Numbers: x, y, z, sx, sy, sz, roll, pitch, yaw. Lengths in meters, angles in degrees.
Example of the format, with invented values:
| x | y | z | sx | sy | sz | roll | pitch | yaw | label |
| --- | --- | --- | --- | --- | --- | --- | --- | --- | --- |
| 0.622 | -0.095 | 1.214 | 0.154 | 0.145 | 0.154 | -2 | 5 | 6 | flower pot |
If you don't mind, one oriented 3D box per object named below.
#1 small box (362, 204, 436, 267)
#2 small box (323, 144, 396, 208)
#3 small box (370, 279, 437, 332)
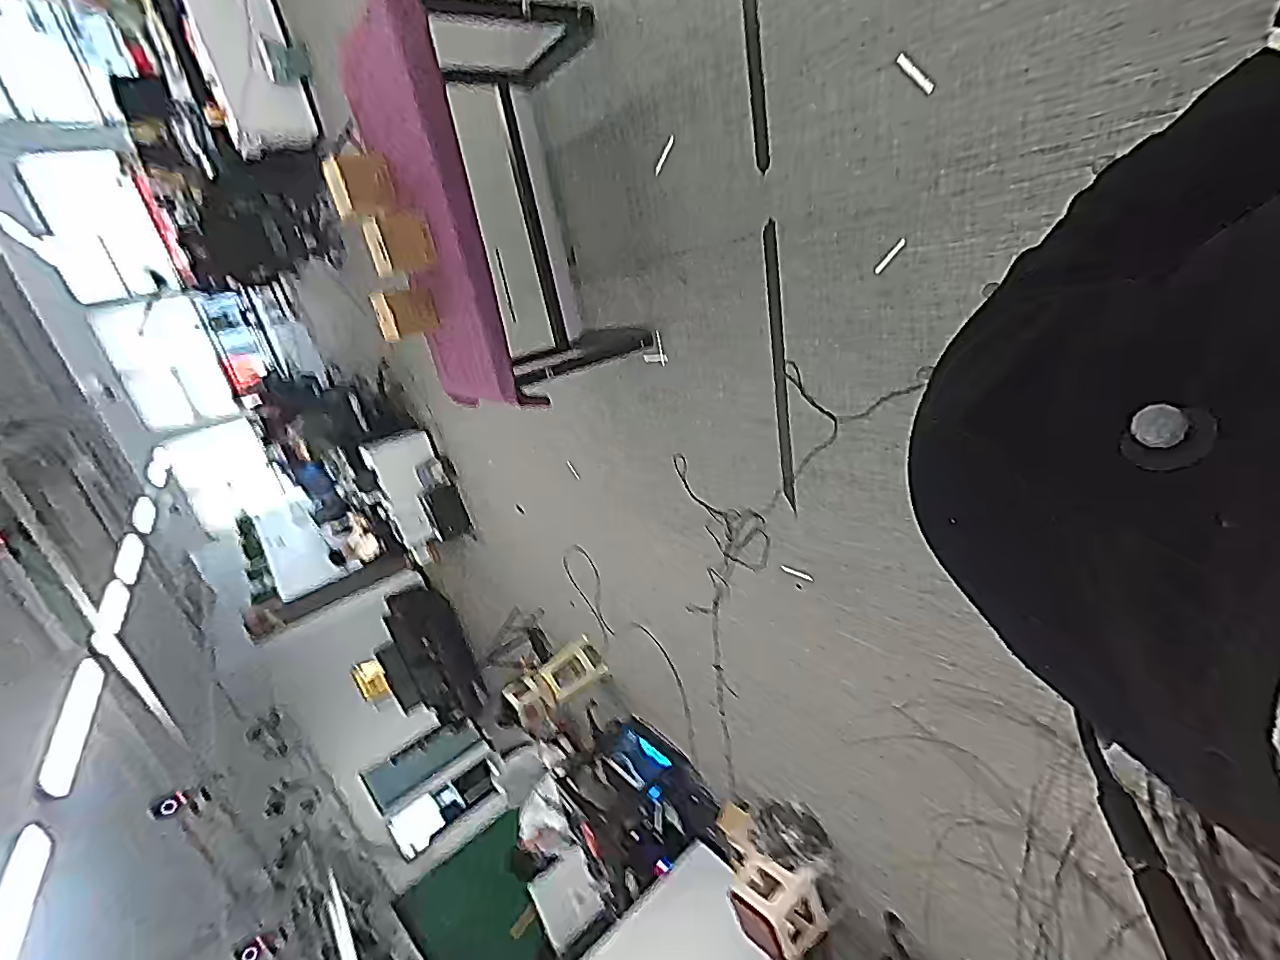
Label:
| x | y | z | sx | sy | sz | roll | pitch | yaw | label |
| --- | --- | --- | --- | --- | --- | --- | --- | --- | --- |
| -0.824 | -0.840 | 1.862 | 0.179 | 0.176 | 0.168 | 18 | 126 | 49 | small box |
| -0.998 | -1.083 | 1.930 | 0.179 | 0.176 | 0.168 | 15 | 125 | 48 | small box |
| -0.907 | -0.674 | 2.089 | 0.179 | 0.176 | 0.168 | 14 | 123 | 47 | small box |
